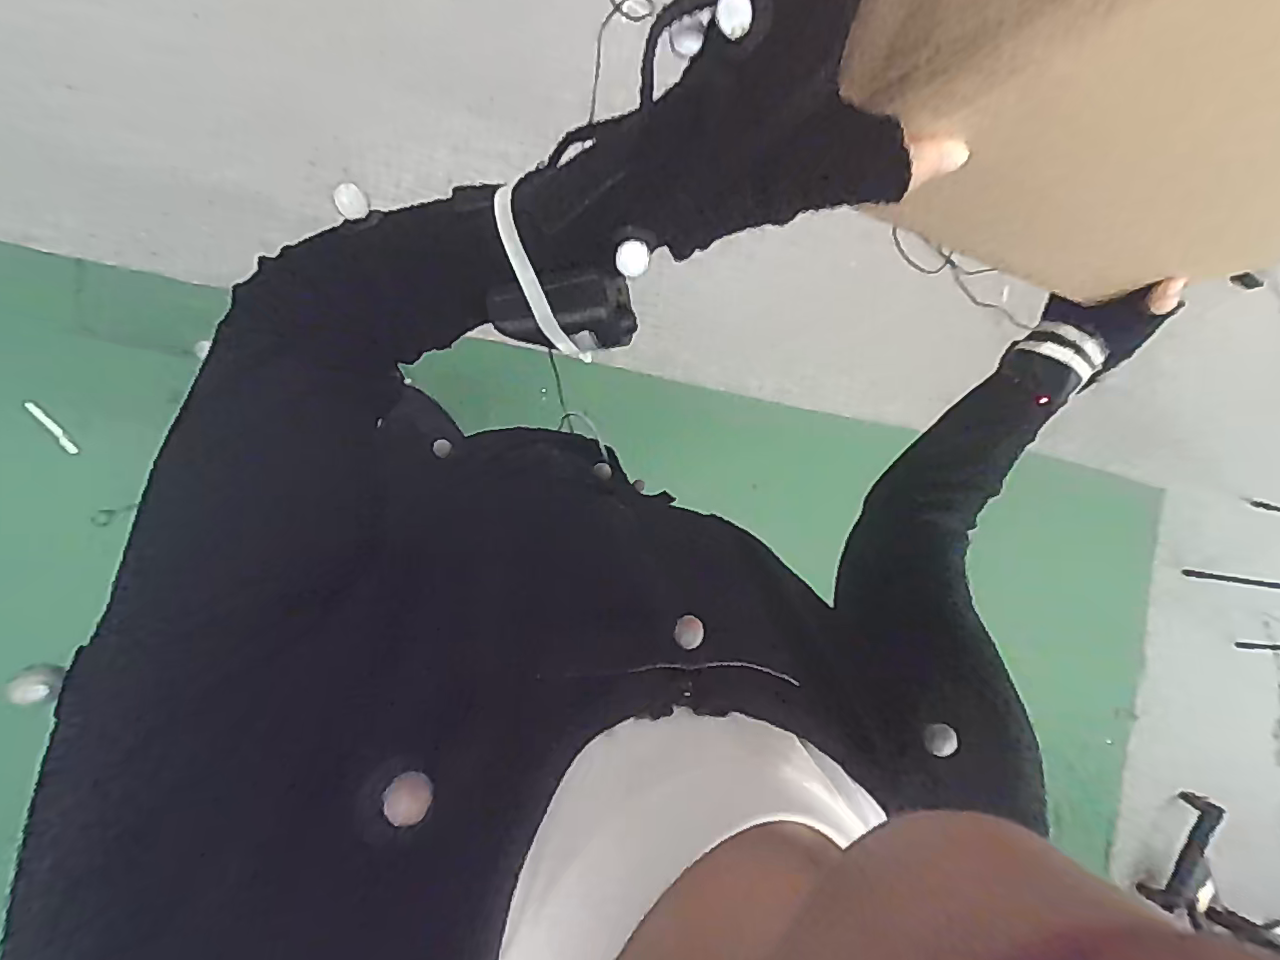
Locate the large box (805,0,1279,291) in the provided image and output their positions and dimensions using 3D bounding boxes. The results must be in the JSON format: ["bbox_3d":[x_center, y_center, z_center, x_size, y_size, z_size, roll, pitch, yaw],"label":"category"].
[{"bbox_3d":[0.314,-0.303,0.240,0.408,0.320,0.320,-4,93,-36],"label":"large box"}]
